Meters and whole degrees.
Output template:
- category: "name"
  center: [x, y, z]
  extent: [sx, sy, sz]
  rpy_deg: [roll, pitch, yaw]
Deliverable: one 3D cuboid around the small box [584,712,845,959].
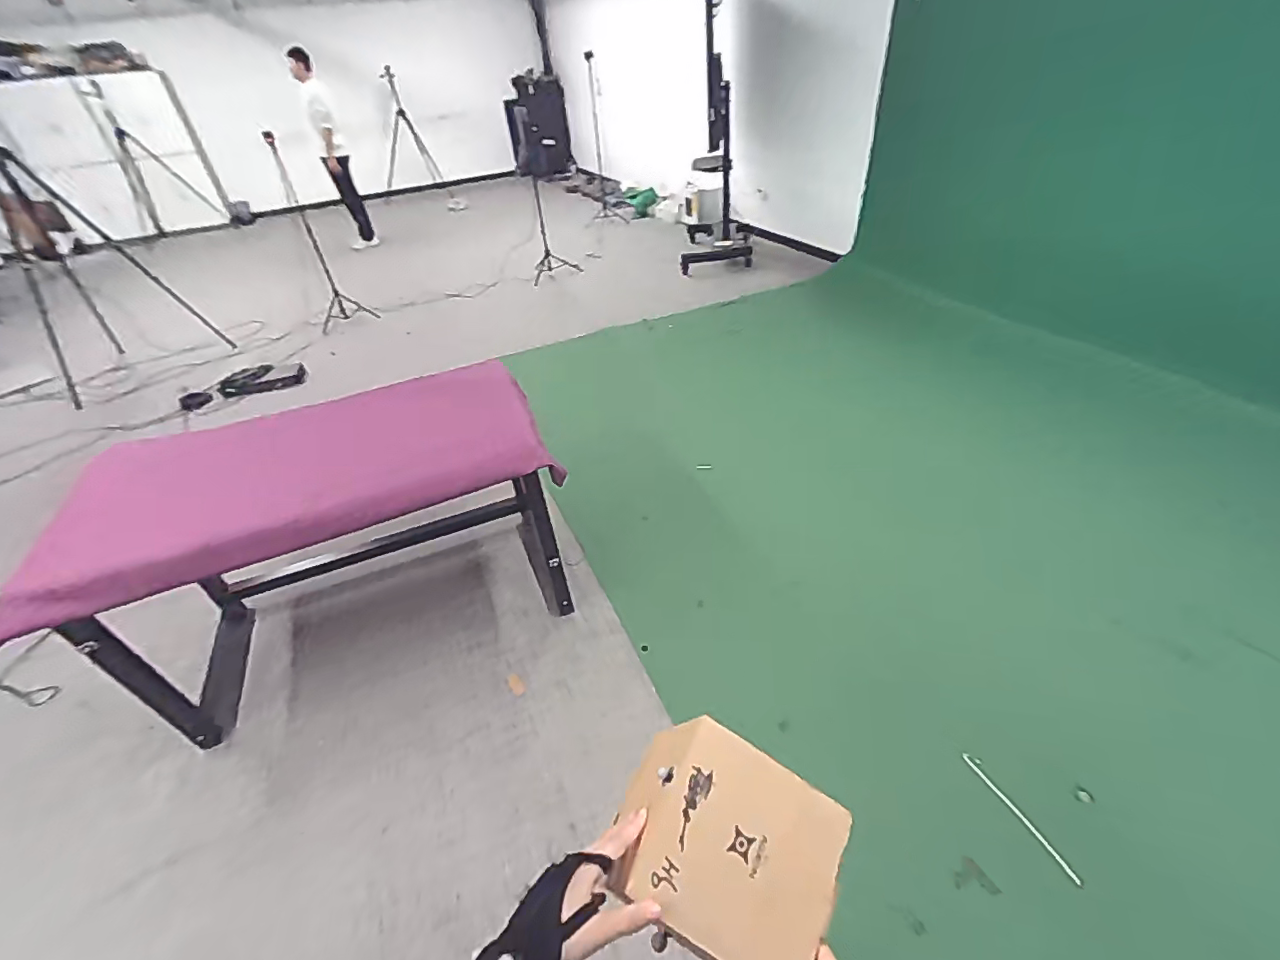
- category: "small box"
  center: [0.068, 0.367, 0.549]
  extent: [0.179, 0.176, 0.168]
  rpy_deg: [33, 54, 3]
